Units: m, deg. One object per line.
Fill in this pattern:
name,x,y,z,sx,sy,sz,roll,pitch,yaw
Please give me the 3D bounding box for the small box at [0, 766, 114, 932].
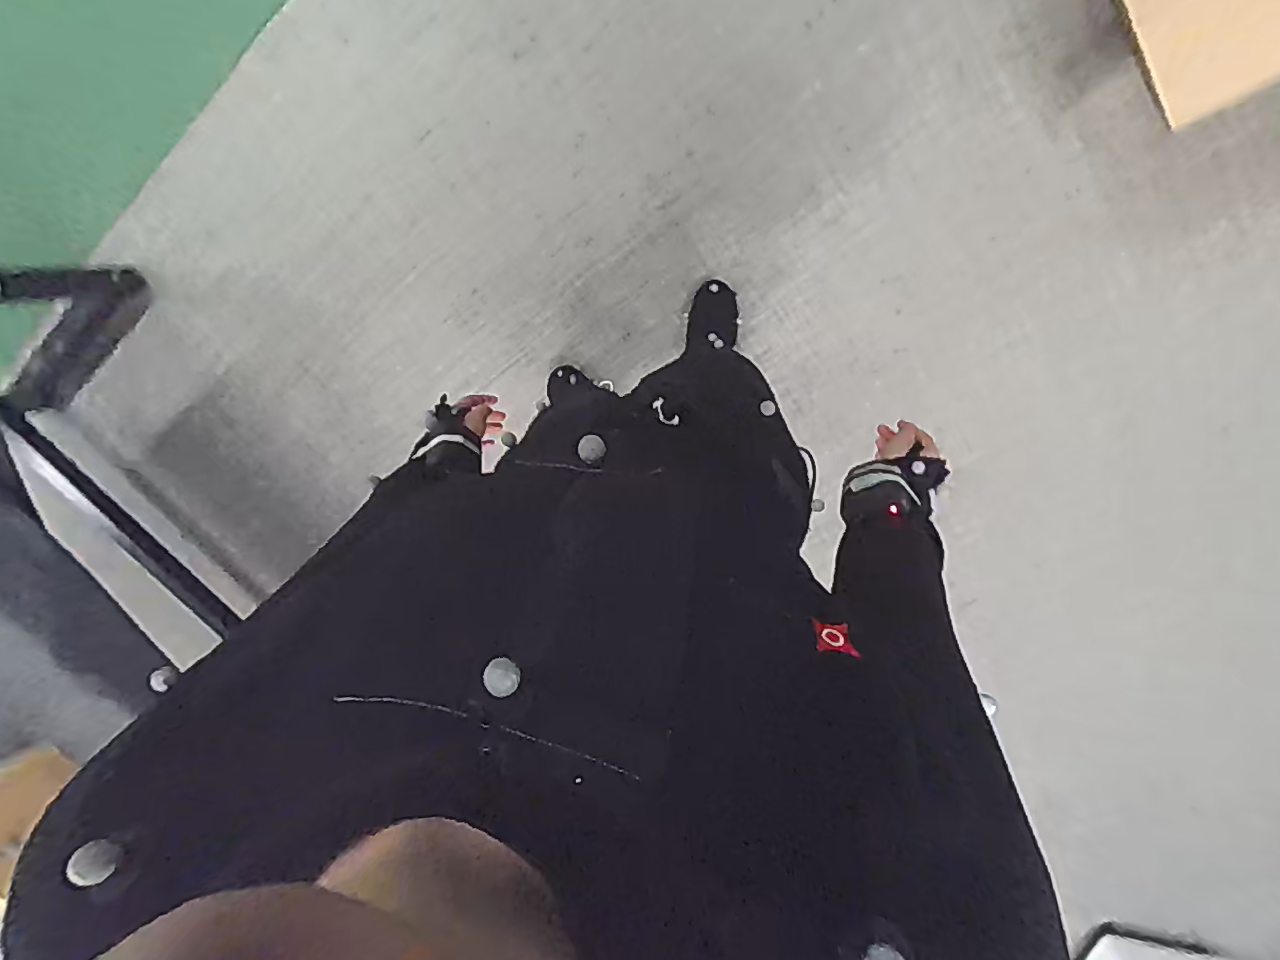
small box,-1.022,0.587,0.858,0.168,0.176,0.179,-26,107,15
